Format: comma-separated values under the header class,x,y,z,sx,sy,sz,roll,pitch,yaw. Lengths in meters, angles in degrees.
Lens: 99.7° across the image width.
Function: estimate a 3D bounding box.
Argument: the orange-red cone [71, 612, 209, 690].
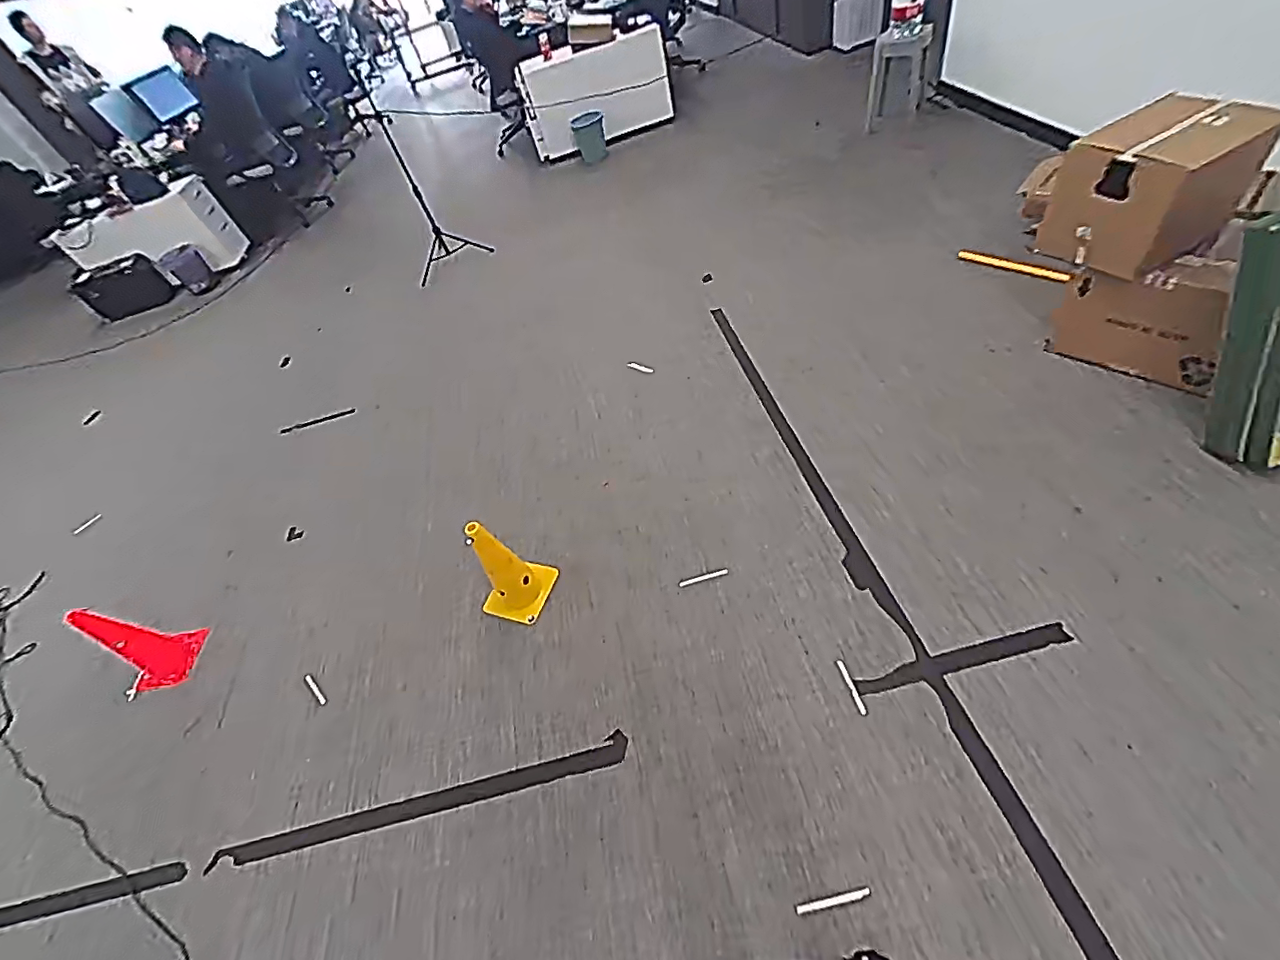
class,x,y,z,sx,sy,sz,roll,pitch,yaw
orange-red cone,-1.677,0.528,1.779,0.199,0.360,0.198,-11,49,7
